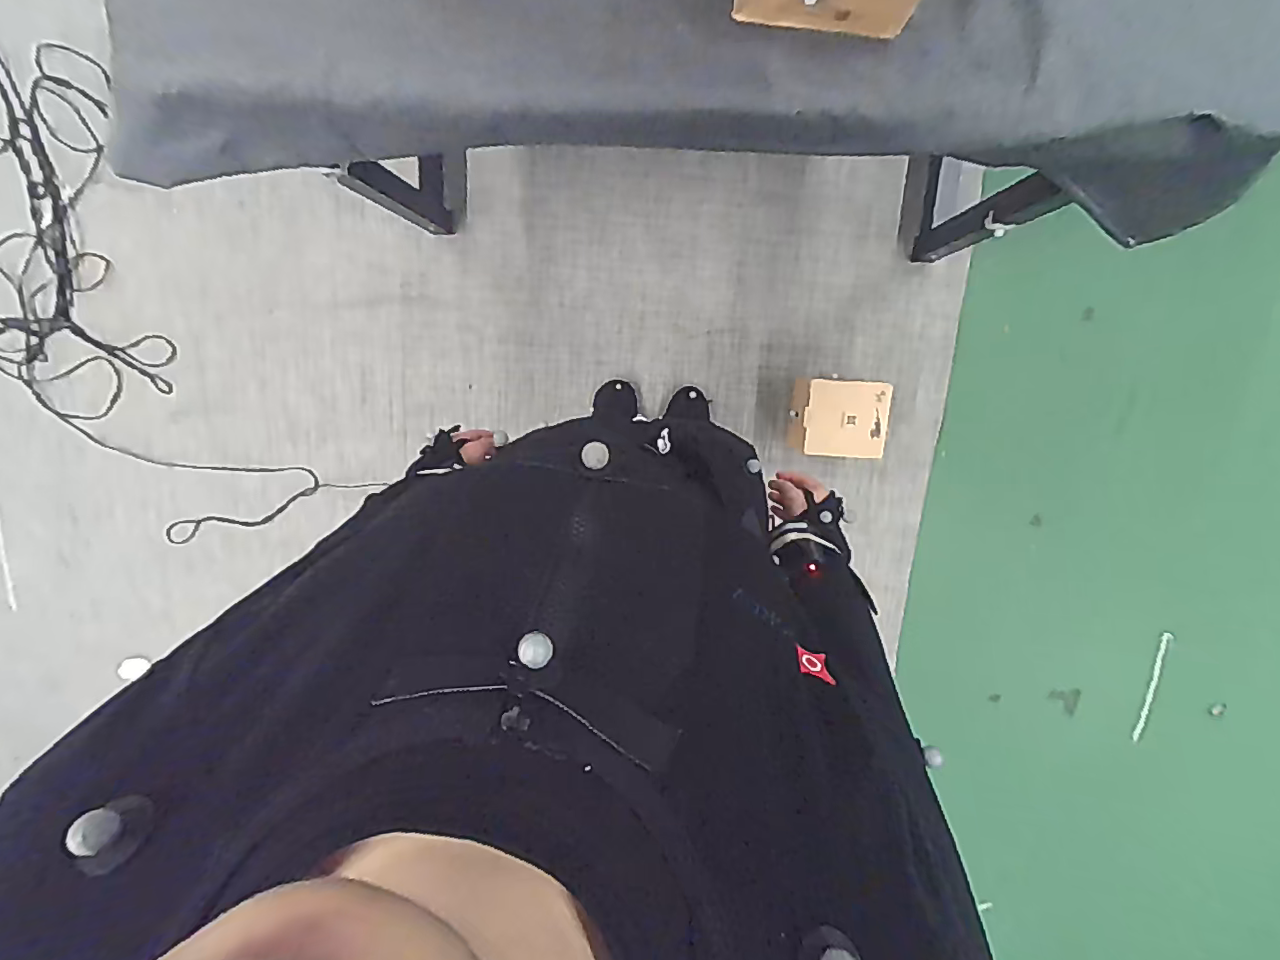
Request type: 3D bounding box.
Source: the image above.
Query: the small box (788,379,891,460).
[{"bbox_3d":[0.447,-0.142,1.240,0.179,0.176,0.168,4,100,3],"label":"small box"}]

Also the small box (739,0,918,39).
[{"bbox_3d":[0.180,-0.516,0.440,0.168,0.176,0.179,8,101,2],"label":"small box"}]
